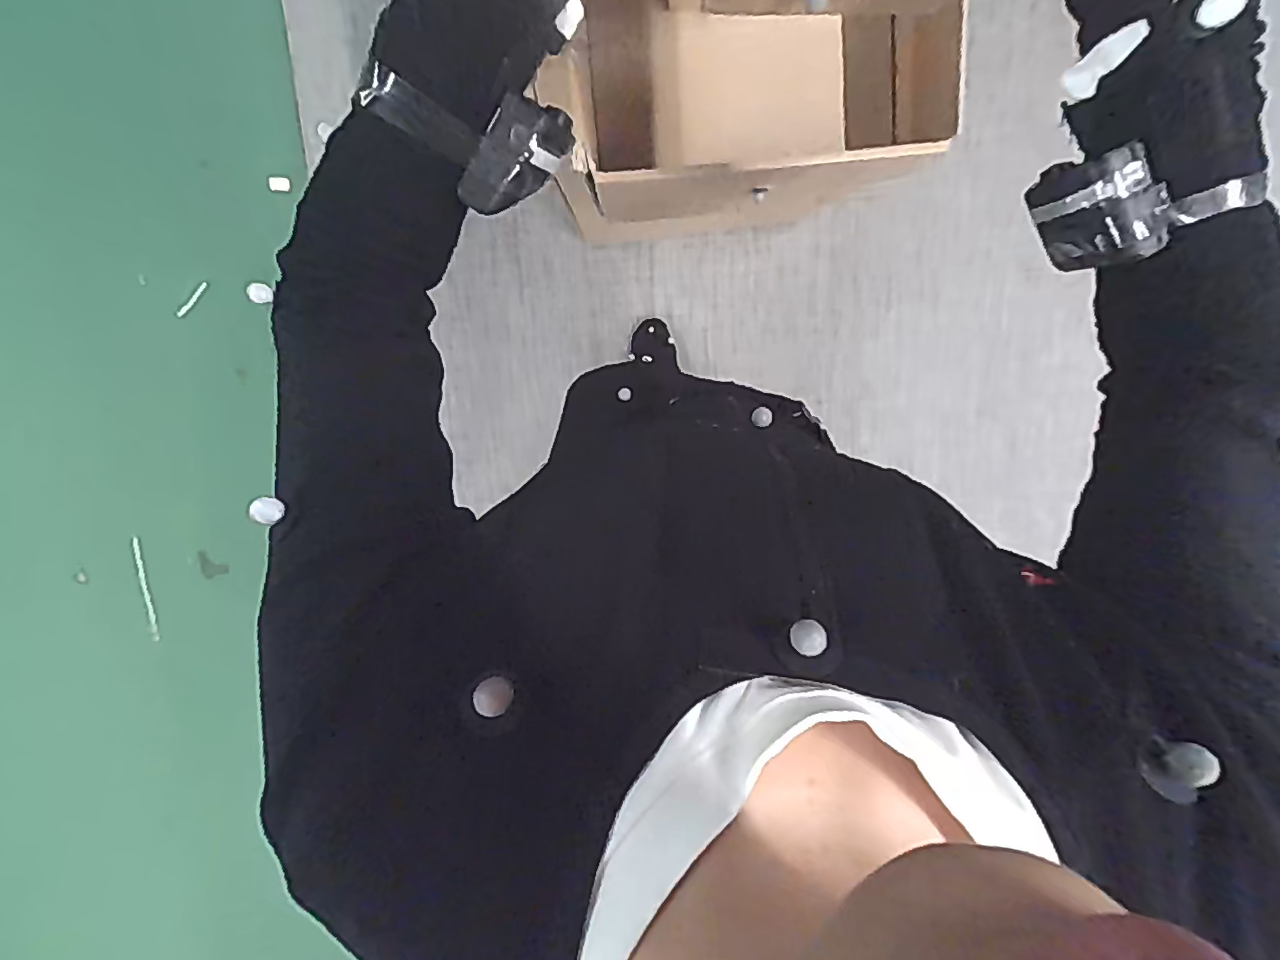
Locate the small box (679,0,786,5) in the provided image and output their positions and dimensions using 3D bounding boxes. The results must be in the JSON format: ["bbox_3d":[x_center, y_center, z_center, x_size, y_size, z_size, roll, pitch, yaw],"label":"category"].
[{"bbox_3d":[0.106,-0.632,0.553,0.168,0.176,0.179,-5,102,1],"label":"small box"}]
